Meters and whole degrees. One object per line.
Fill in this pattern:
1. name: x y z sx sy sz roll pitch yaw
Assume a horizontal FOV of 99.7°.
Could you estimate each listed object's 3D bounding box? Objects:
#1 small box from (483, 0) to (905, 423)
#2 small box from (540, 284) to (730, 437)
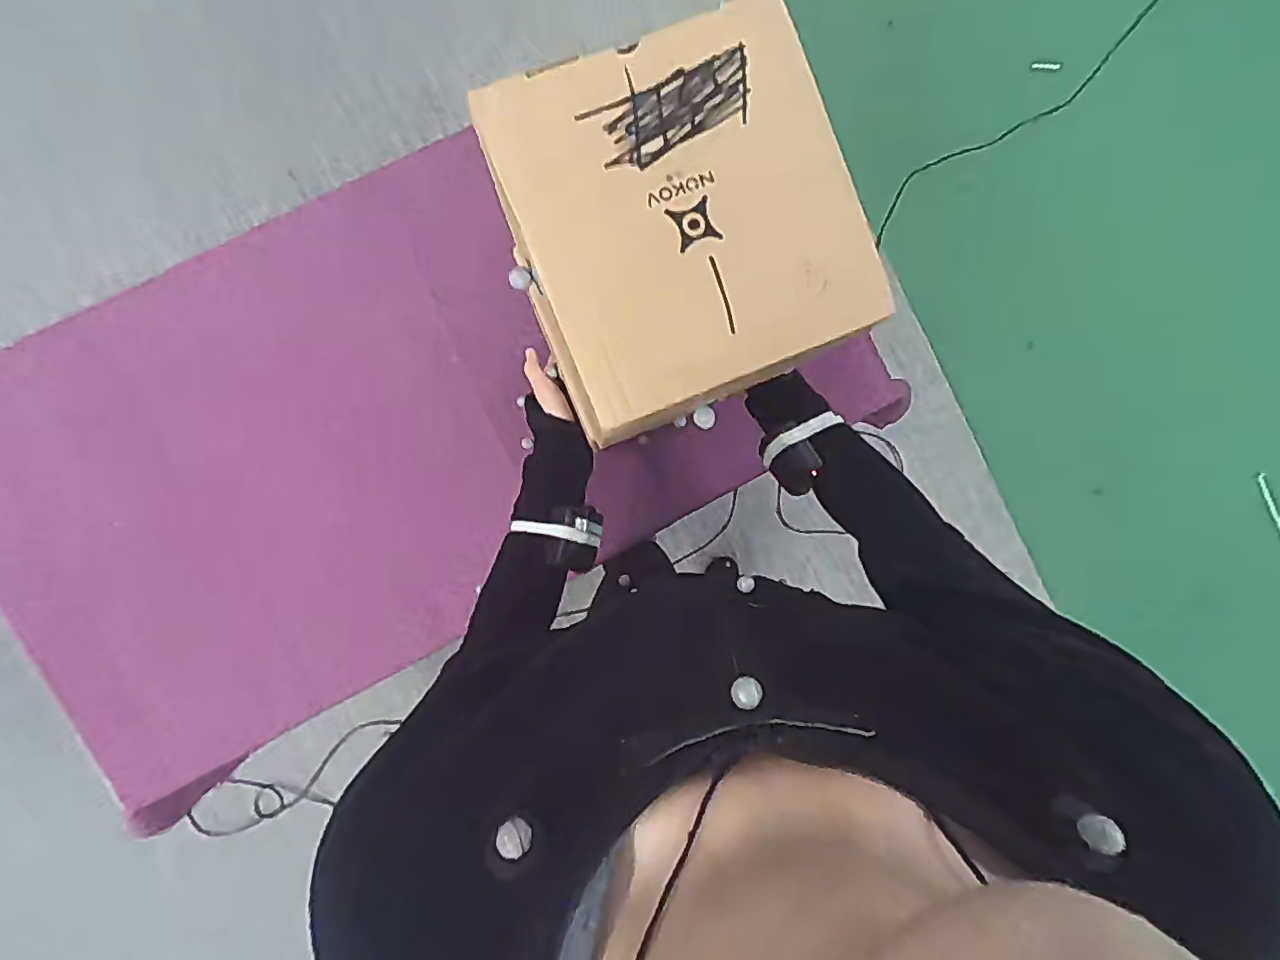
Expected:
1. small box: 0.022 -0.148 0.343 0.168 0.176 0.179 -22 94 -4
2. small box: -0.009 -0.161 0.670 0.168 0.176 0.179 -22 93 -5
